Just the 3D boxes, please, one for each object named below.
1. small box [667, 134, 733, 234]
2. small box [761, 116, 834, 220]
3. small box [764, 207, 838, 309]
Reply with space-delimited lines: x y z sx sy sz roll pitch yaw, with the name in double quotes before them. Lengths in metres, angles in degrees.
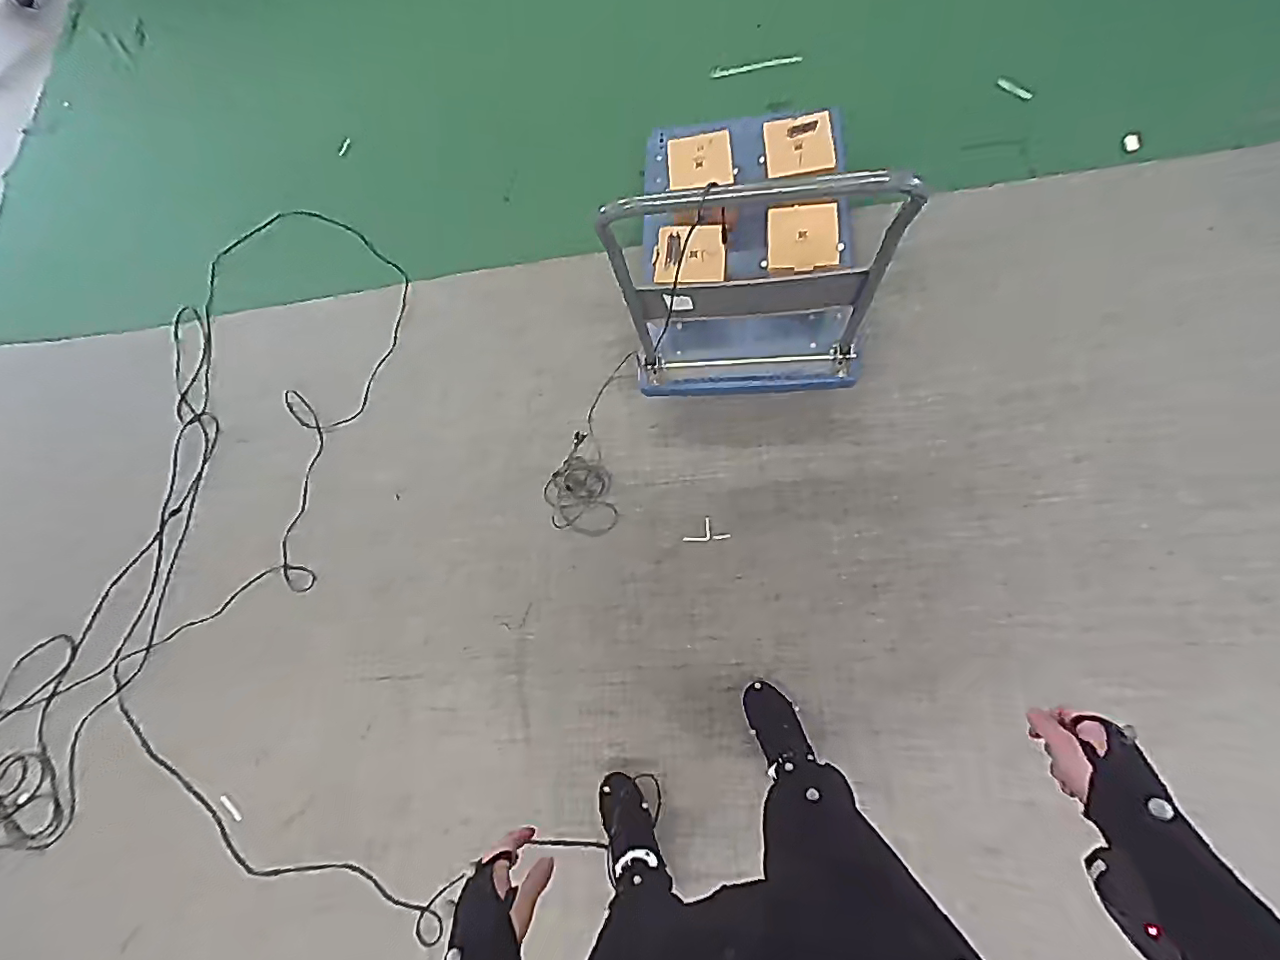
"small box" 0.169 -0.806 1.497 0.168 0.176 0.179 -4 75 9
"small box" 0.417 -0.827 1.455 0.168 0.176 0.179 -5 76 10
"small box" 0.408 -0.565 1.389 0.168 0.176 0.179 0 76 11
